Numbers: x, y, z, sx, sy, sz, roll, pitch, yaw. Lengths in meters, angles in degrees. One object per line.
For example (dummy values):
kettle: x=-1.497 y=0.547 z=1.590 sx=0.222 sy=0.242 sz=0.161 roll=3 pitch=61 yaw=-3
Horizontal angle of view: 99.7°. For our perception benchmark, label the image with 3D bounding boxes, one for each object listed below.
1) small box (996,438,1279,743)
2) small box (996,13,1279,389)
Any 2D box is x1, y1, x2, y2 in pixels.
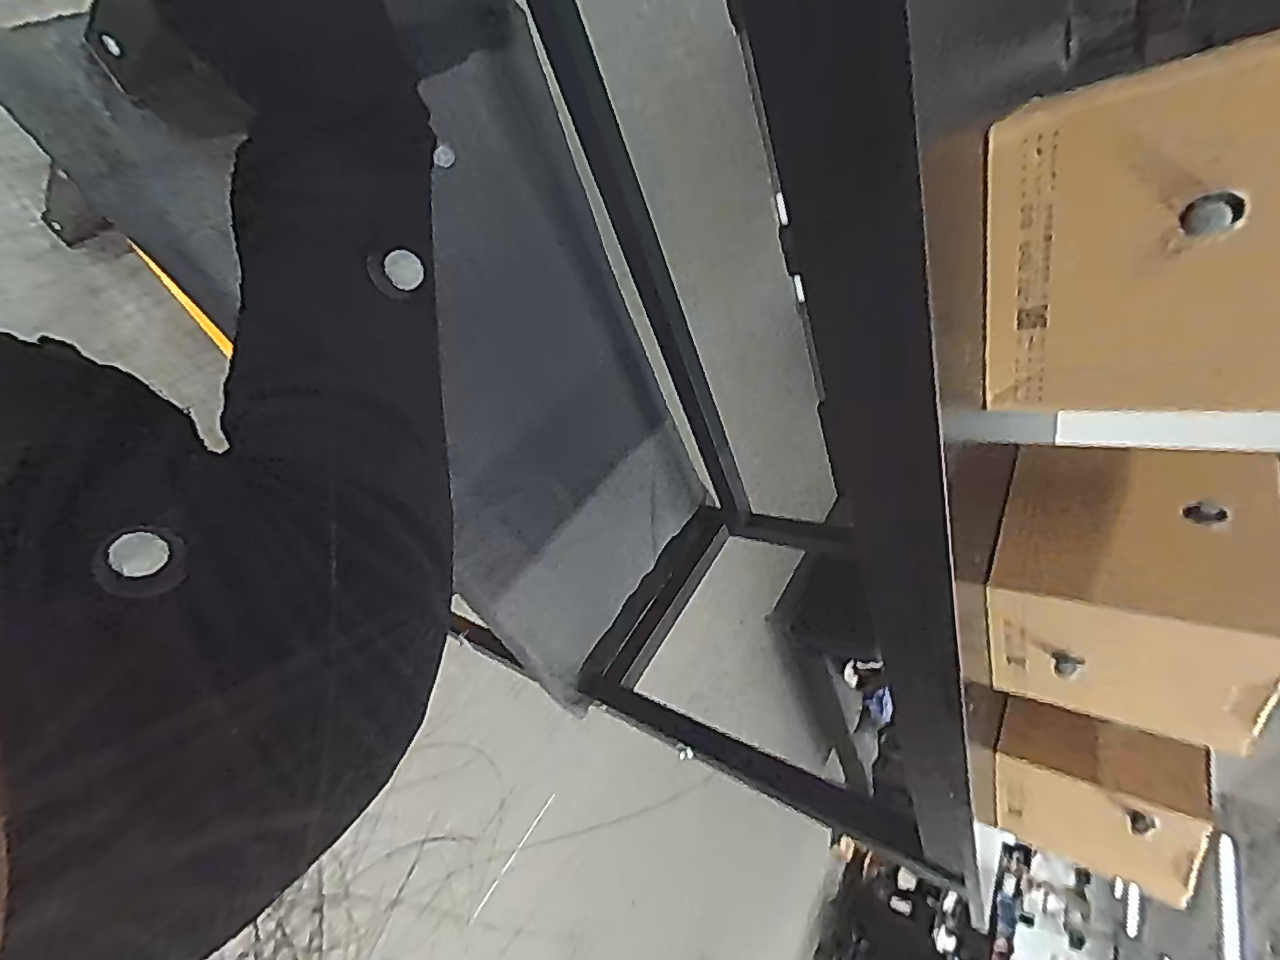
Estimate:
small box: x=0.418 y=0.077 z=0.461 sx=0.179 sy=0.176 sz=0.168 roll=-54 pitch=131 yaw=-30
small box: x=0.320 y=-0.160 z=0.317 sx=0.179 sy=0.176 sz=0.168 roll=-42 pitch=125 yaw=-39
